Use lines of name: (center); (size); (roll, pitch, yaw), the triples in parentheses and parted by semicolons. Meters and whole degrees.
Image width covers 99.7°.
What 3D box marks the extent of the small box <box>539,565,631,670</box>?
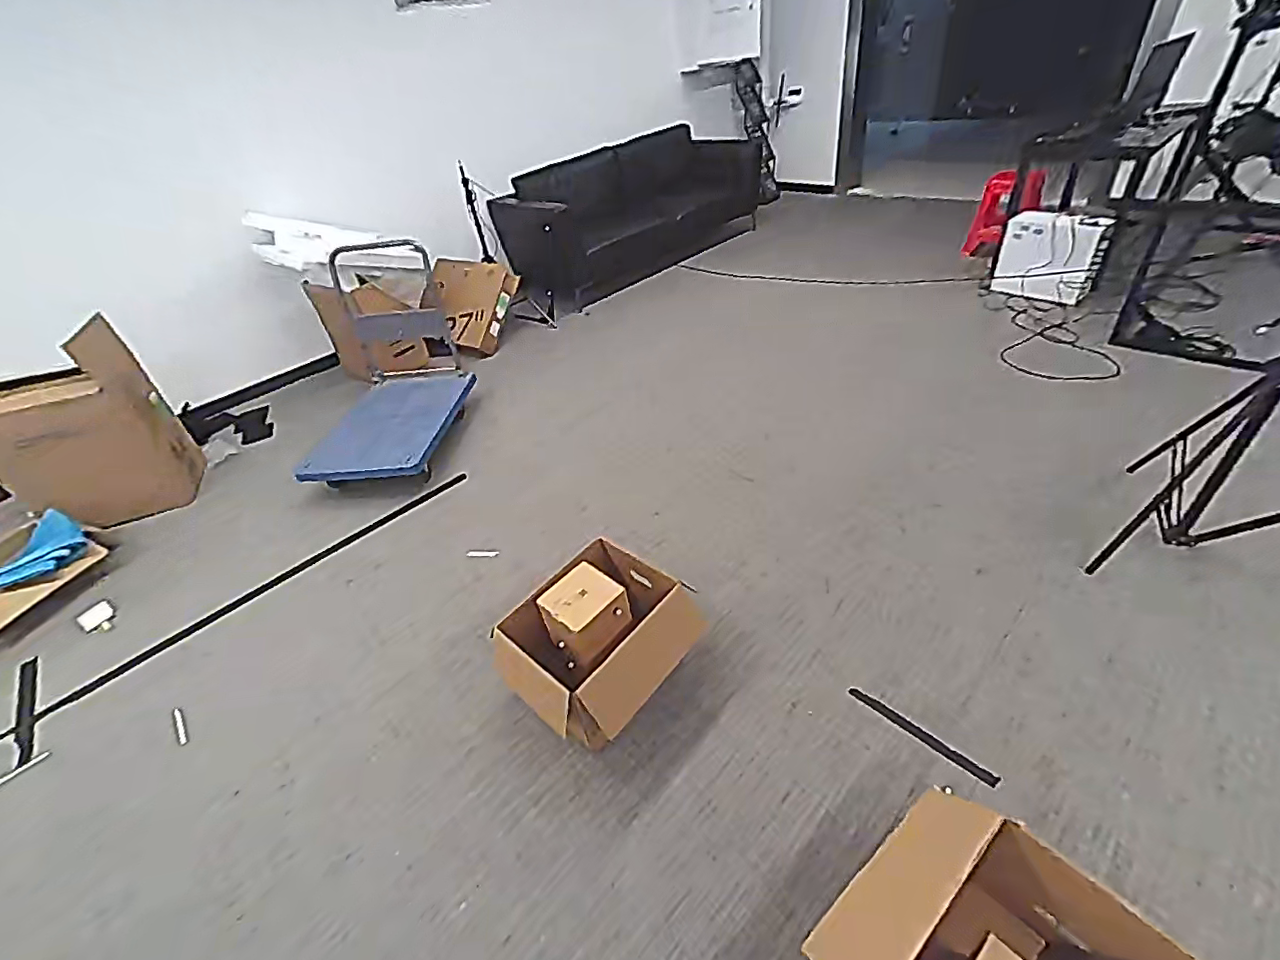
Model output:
small box: (-0.140, 0.368, 1.454); (0.168, 0.176, 0.179); (26, 50, 37)
